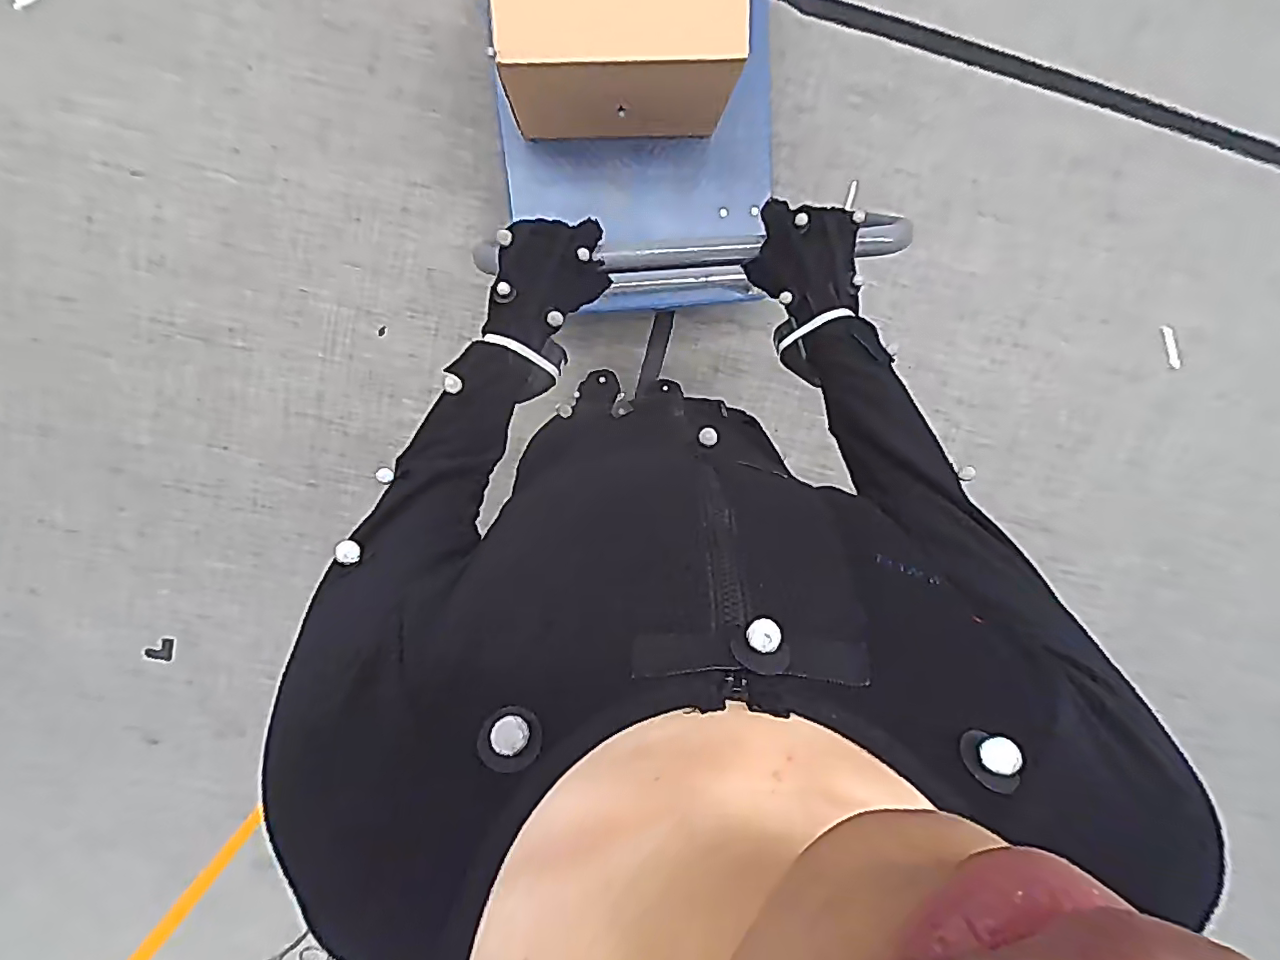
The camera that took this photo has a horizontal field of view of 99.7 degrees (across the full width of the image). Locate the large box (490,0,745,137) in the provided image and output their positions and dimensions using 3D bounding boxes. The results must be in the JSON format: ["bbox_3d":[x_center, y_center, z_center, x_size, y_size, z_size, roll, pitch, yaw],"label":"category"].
[{"bbox_3d":[-0.042,-0.847,0.970,0.408,0.320,0.320,-3,103,-2],"label":"large box"}]
